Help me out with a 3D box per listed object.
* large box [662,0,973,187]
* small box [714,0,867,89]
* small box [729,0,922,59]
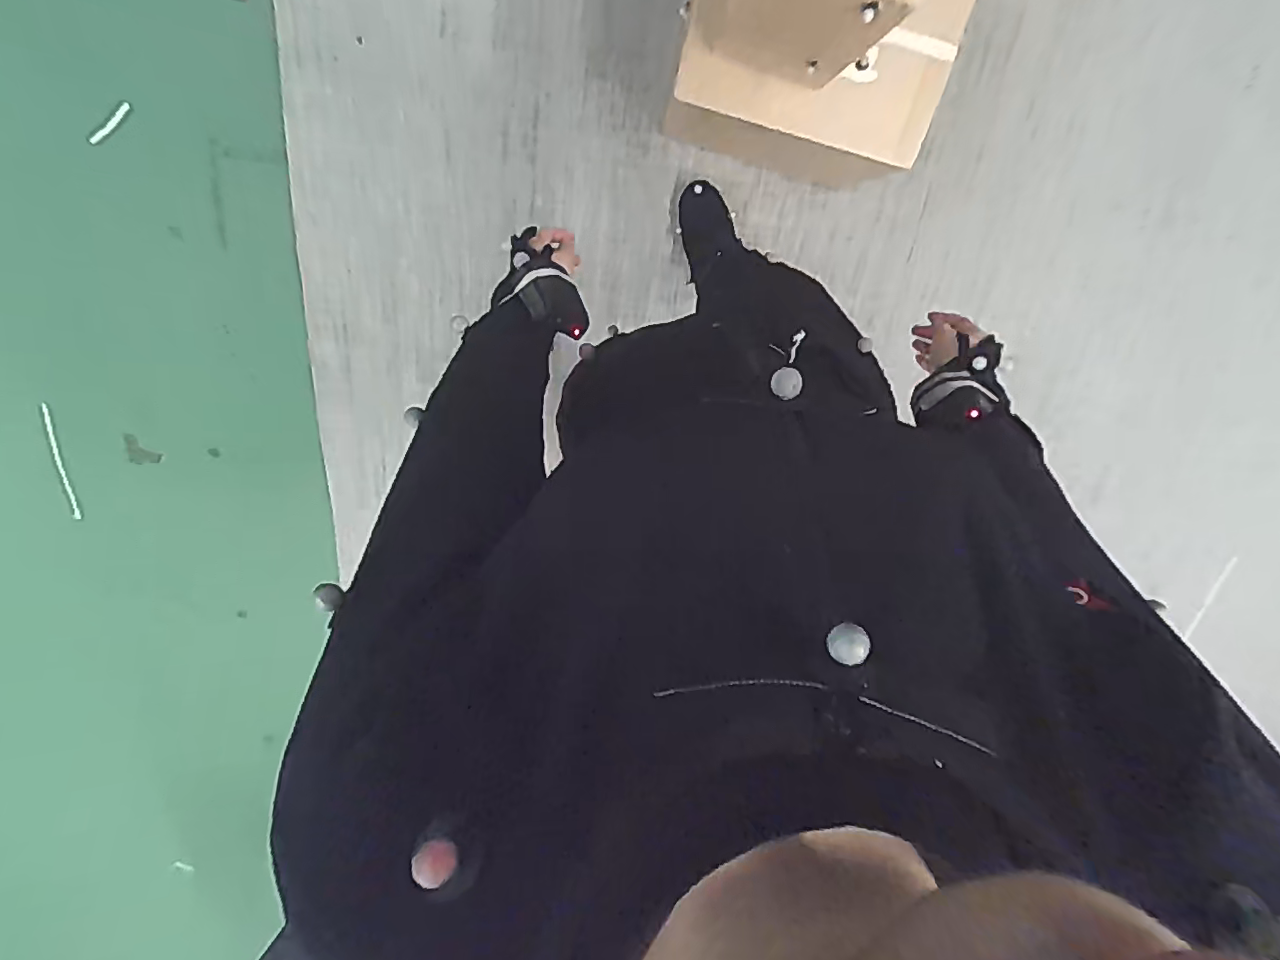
[{"bbox_3d":[0.273,-0.735,0.932,0.408,0.320,0.320,11,113,-7],"label":"large box"},{"bbox_3d":[0.209,-0.644,0.706,0.179,0.176,0.168,12,111,-6],"label":"small box"},{"bbox_3d":[0.206,-0.577,0.557,0.179,0.176,0.168,13,111,-8],"label":"small box"}]
